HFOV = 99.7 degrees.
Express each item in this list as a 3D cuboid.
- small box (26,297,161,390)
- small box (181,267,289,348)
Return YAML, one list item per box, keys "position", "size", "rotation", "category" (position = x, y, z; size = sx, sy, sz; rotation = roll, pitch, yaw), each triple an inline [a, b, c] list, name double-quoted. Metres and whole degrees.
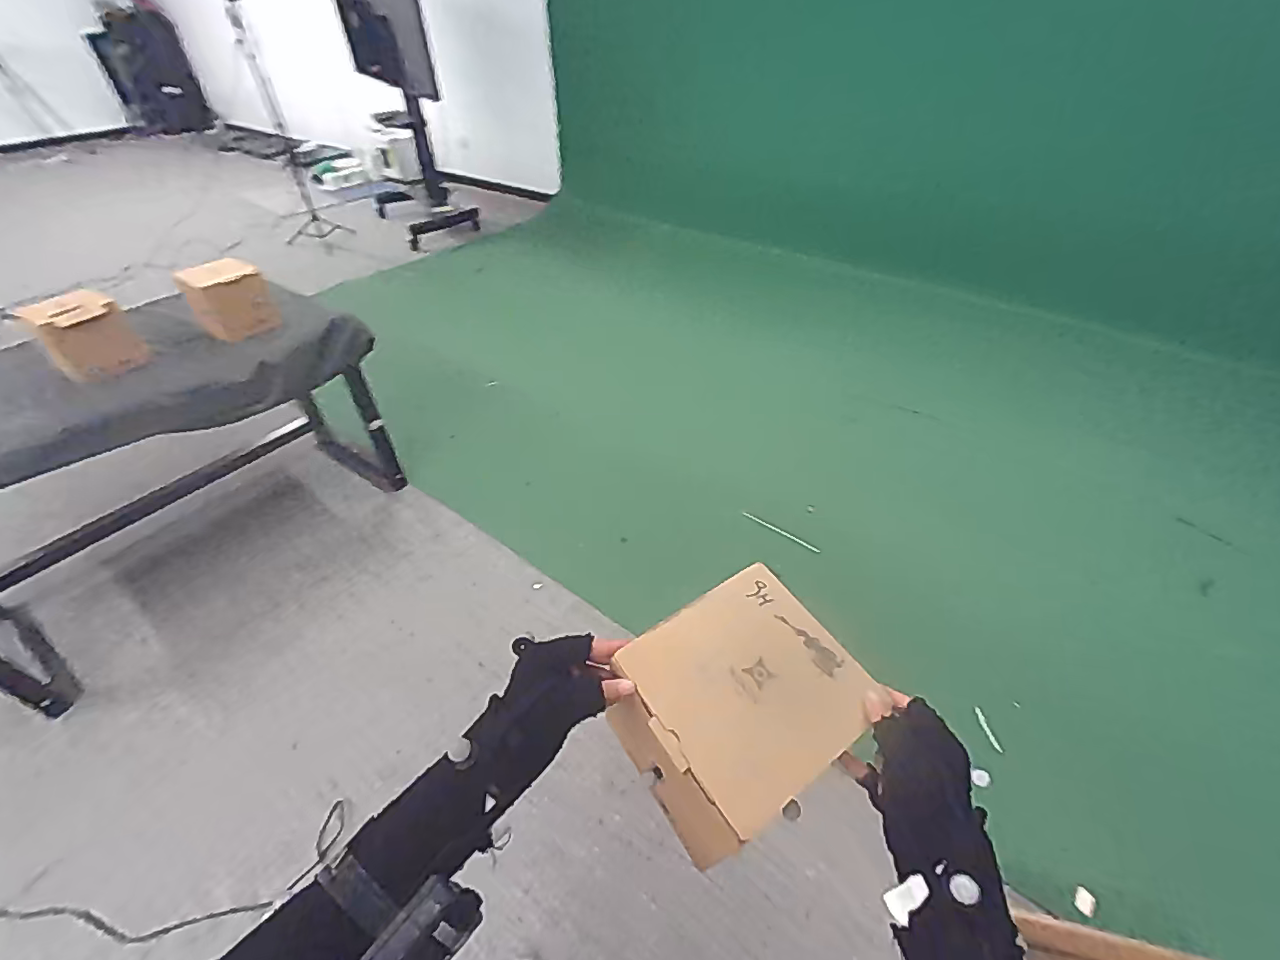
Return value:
- position: [-1.440, -0.360, 1.436]
  size: [0.179, 0.176, 0.168]
  rotation: [22, 46, 25]
  category: "small box"
- position: [-1.187, -0.507, 1.597]
  size: [0.179, 0.176, 0.168]
  rotation: [23, 46, 26]
  category: "small box"
